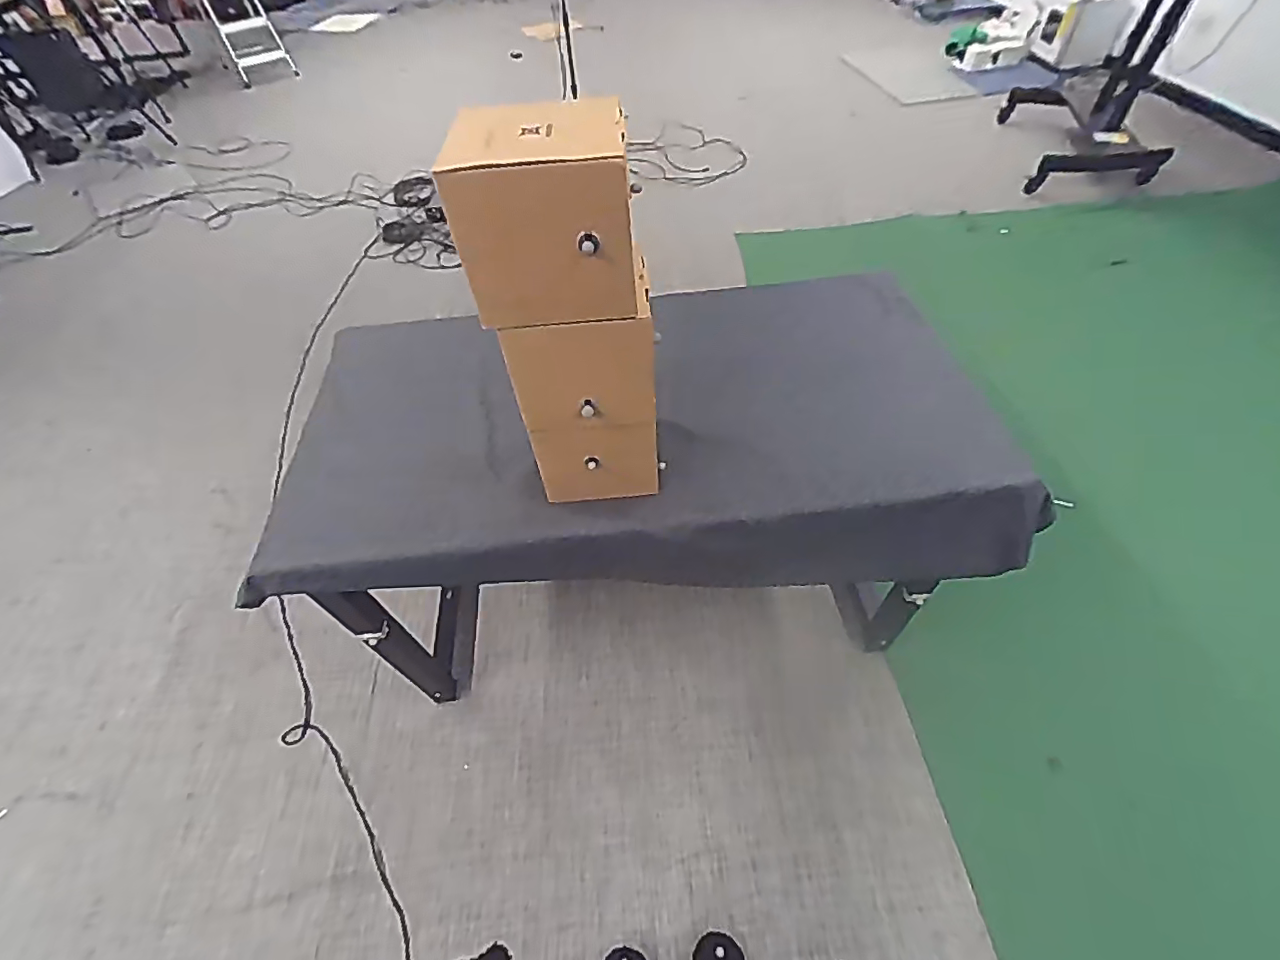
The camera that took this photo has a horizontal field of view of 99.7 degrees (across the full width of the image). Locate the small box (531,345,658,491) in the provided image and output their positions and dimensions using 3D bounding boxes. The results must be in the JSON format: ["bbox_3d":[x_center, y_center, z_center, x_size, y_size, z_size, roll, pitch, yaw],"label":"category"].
[{"bbox_3d":[-0.060,-0.097,0.849,0.179,0.176,0.168,-2,50,2],"label":"small box"}]

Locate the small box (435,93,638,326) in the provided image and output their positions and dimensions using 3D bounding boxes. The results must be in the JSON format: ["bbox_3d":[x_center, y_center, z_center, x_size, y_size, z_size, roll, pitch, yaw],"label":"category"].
[{"bbox_3d":[-0.094,-0.290,0.591,0.179,0.176,0.168,-6,51,2],"label":"small box"}]

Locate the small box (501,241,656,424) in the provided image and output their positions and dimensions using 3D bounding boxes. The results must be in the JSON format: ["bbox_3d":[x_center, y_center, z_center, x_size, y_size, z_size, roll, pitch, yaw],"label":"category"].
[{"bbox_3d":[-0.070,-0.191,0.719,0.179,0.176,0.168,-4,51,1],"label":"small box"}]
